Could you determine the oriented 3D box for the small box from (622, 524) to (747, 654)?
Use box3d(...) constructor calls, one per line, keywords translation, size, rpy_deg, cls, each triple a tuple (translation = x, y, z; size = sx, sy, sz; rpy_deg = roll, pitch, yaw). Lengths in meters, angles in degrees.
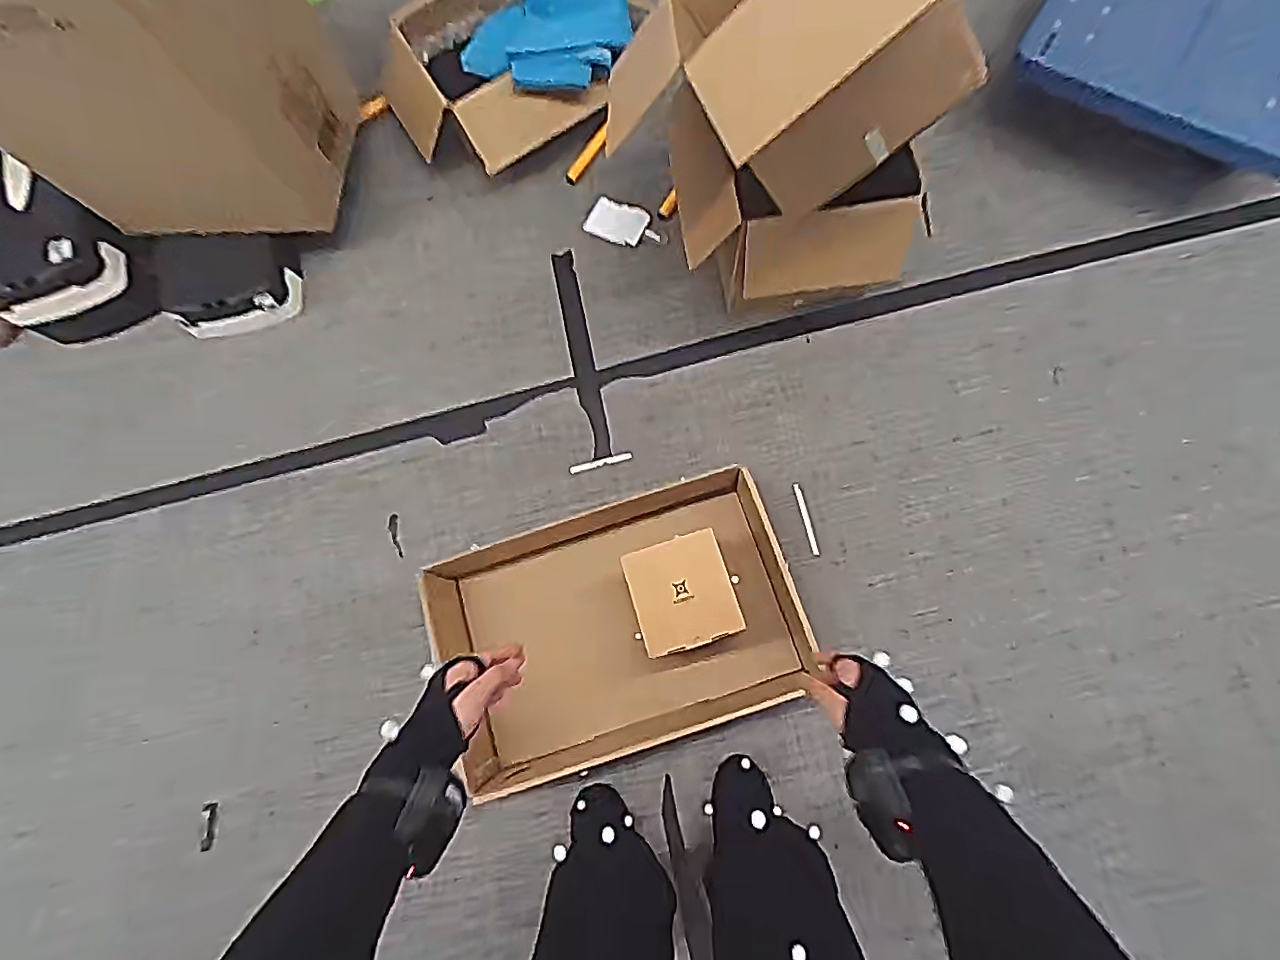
box3d(translation=(0.075, 0.195, 0.959), size=(0.168, 0.176, 0.179), rpy_deg=(-19, 76, 1), cls="small box")
